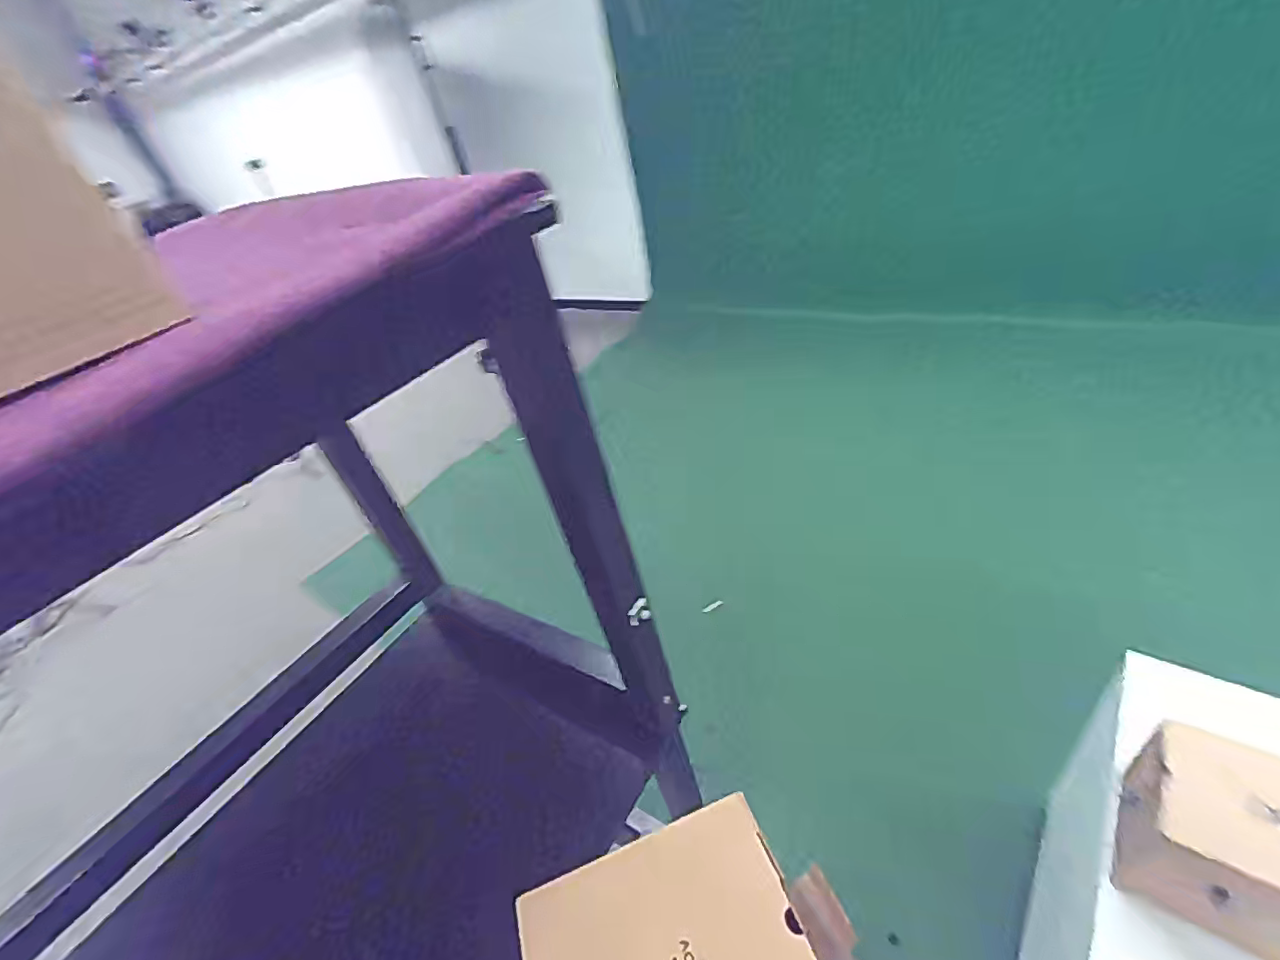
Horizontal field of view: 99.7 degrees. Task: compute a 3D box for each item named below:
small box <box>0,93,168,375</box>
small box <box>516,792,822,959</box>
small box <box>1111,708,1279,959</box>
[{"bbox_3d":[-0.390,-0.121,0.250,0.168,0.176,0.179,11,44,33],"label":"small box"},{"bbox_3d":[0.036,0.357,0.359,0.179,0.176,0.168,-20,36,-8],"label":"small box"},{"bbox_3d":[0.692,0.416,0.637,0.179,0.176,0.168,16,47,34],"label":"small box"}]
